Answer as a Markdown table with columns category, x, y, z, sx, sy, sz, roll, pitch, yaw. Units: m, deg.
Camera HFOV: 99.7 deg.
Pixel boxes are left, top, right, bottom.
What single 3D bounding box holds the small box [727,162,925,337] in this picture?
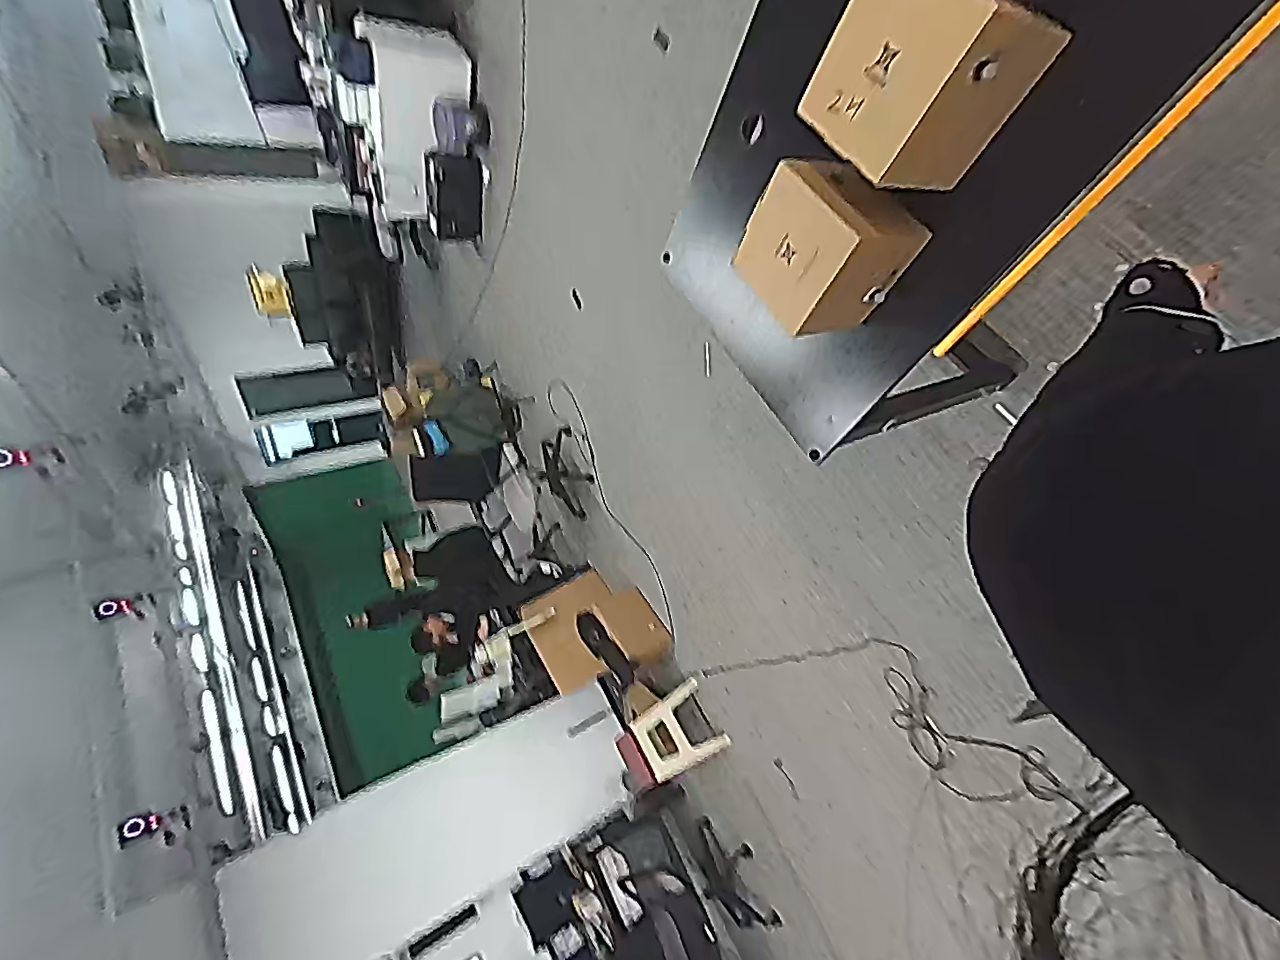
| category | x | y | z | sx | sy | sz | roll | pitch | yaw |
| --- | --- | --- | --- | --- | --- | --- | --- | --- | --- |
| small box | 0.268 | -0.338 | 0.798 | 0.179 | 0.176 | 0.168 | 58 | 148 | 23 |
